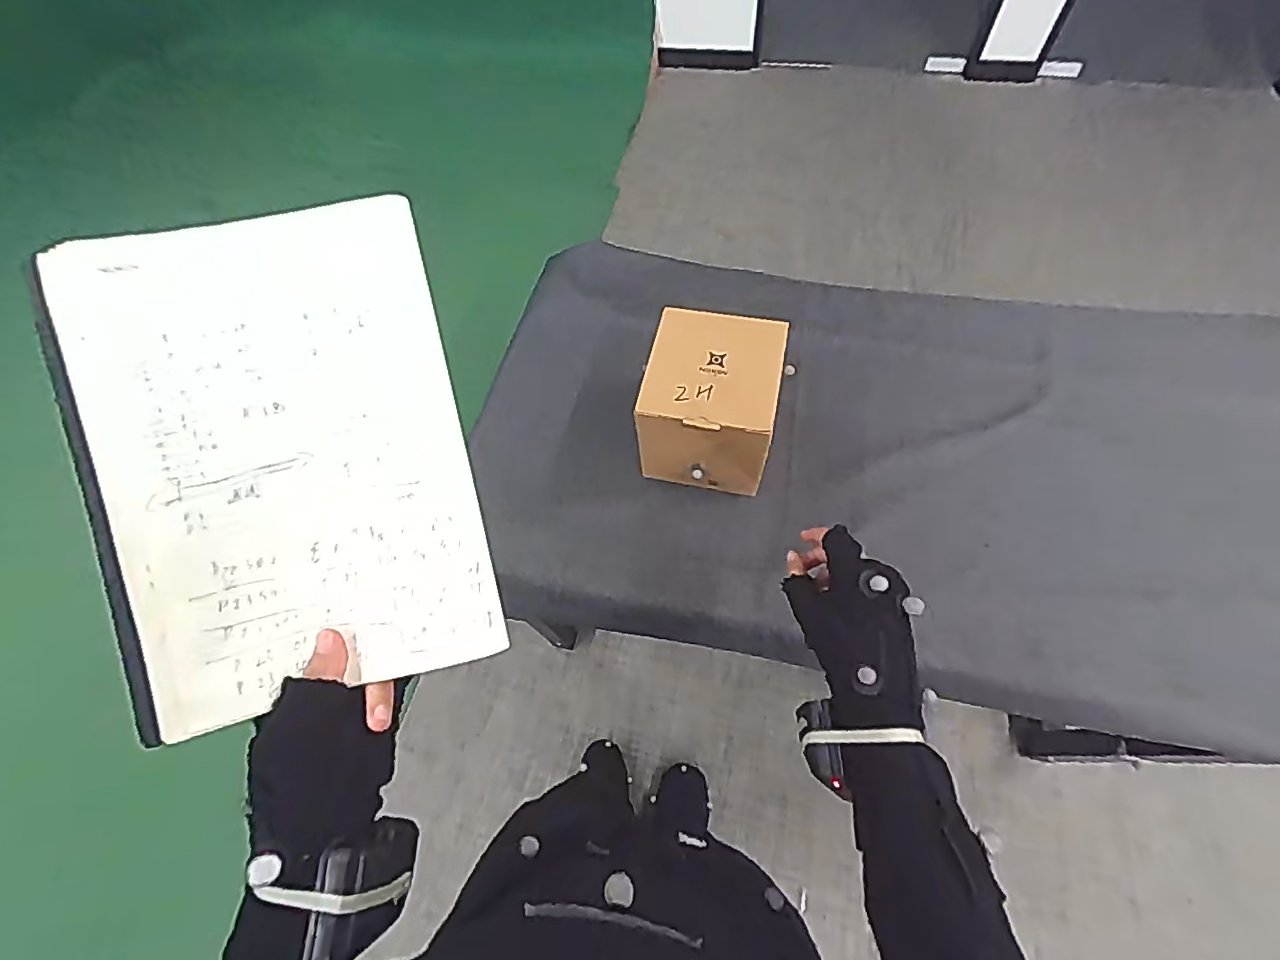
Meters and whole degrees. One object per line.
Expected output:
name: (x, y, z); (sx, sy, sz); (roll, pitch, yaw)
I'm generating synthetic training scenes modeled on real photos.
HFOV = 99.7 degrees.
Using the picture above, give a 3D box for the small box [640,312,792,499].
small box: (0.102, -0.098, 0.742); (0.168, 0.176, 0.179); (10, 63, 10)
